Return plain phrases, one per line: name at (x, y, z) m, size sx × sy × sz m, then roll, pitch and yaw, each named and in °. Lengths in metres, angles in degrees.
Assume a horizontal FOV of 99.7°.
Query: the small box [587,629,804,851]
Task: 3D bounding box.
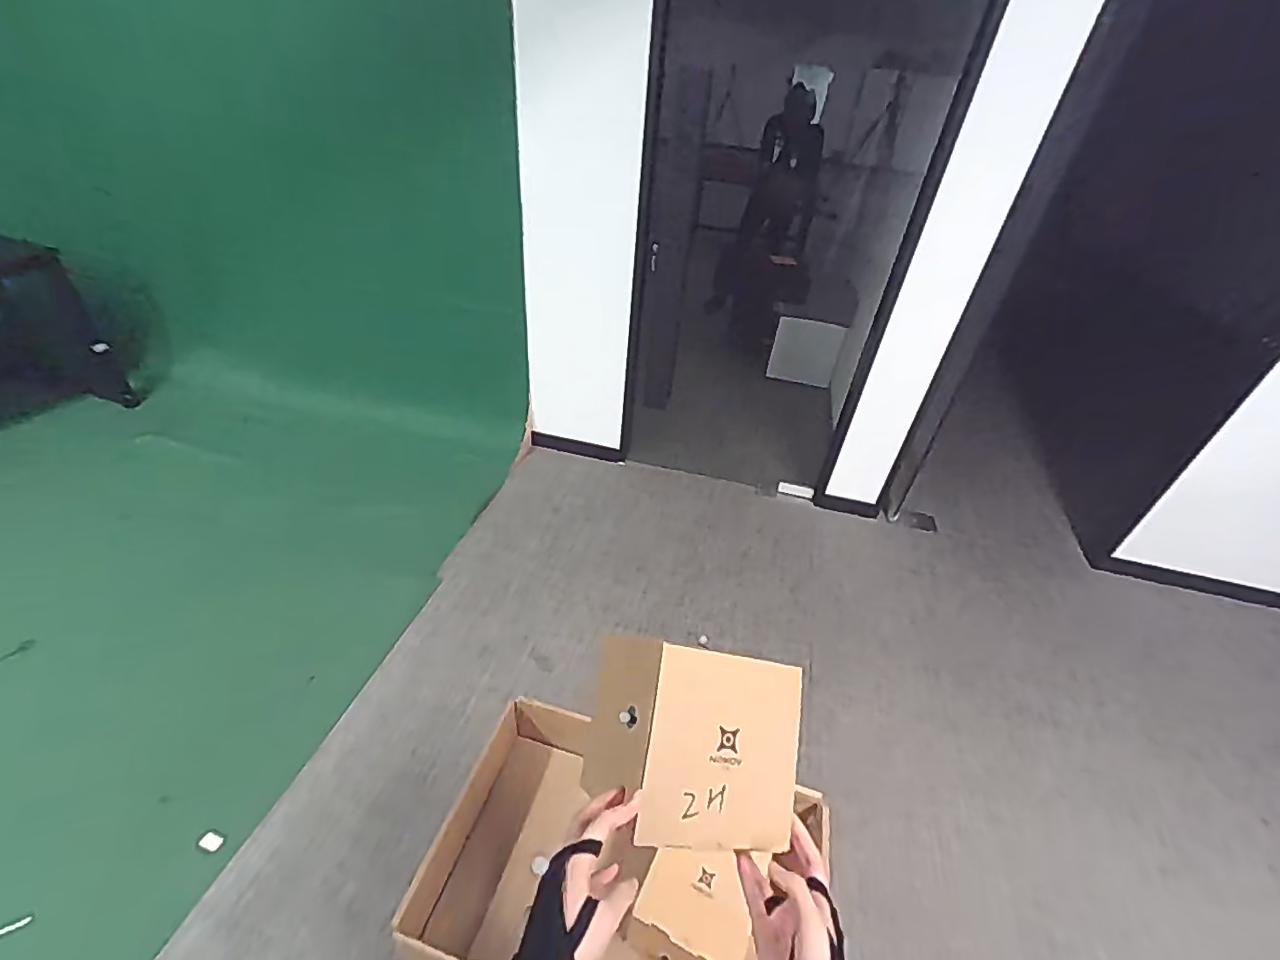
small box at (0.052, 0.264, 0.584) m, size 0.168 × 0.176 × 0.179 m, roll 15°, pitch 74°, yaw -17°
